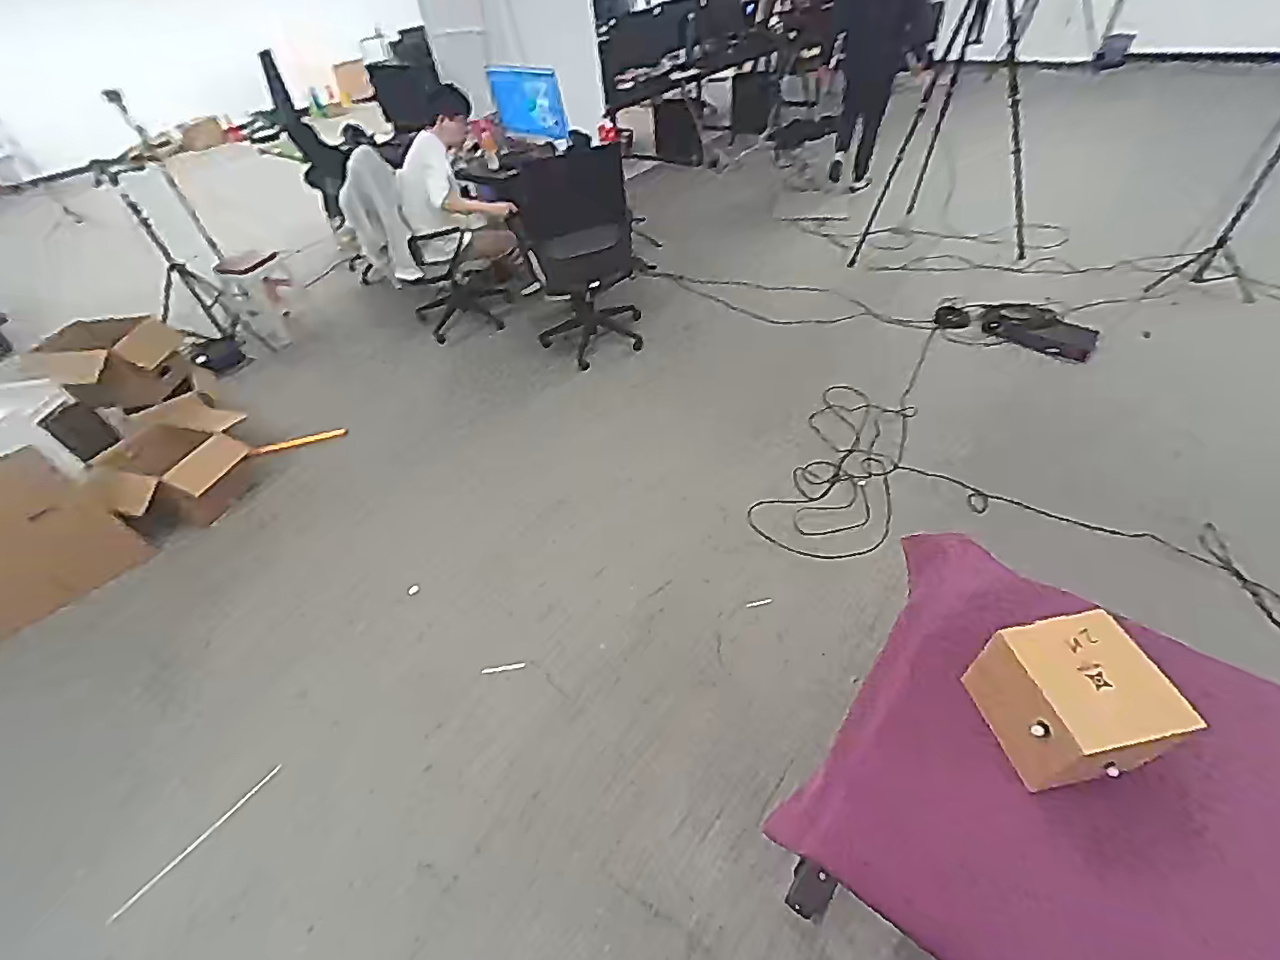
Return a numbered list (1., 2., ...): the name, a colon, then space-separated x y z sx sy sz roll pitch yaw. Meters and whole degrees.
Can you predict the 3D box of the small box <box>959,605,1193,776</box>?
1. small box: 0.613 0.313 0.792 0.168 0.176 0.179 -10 46 -3
